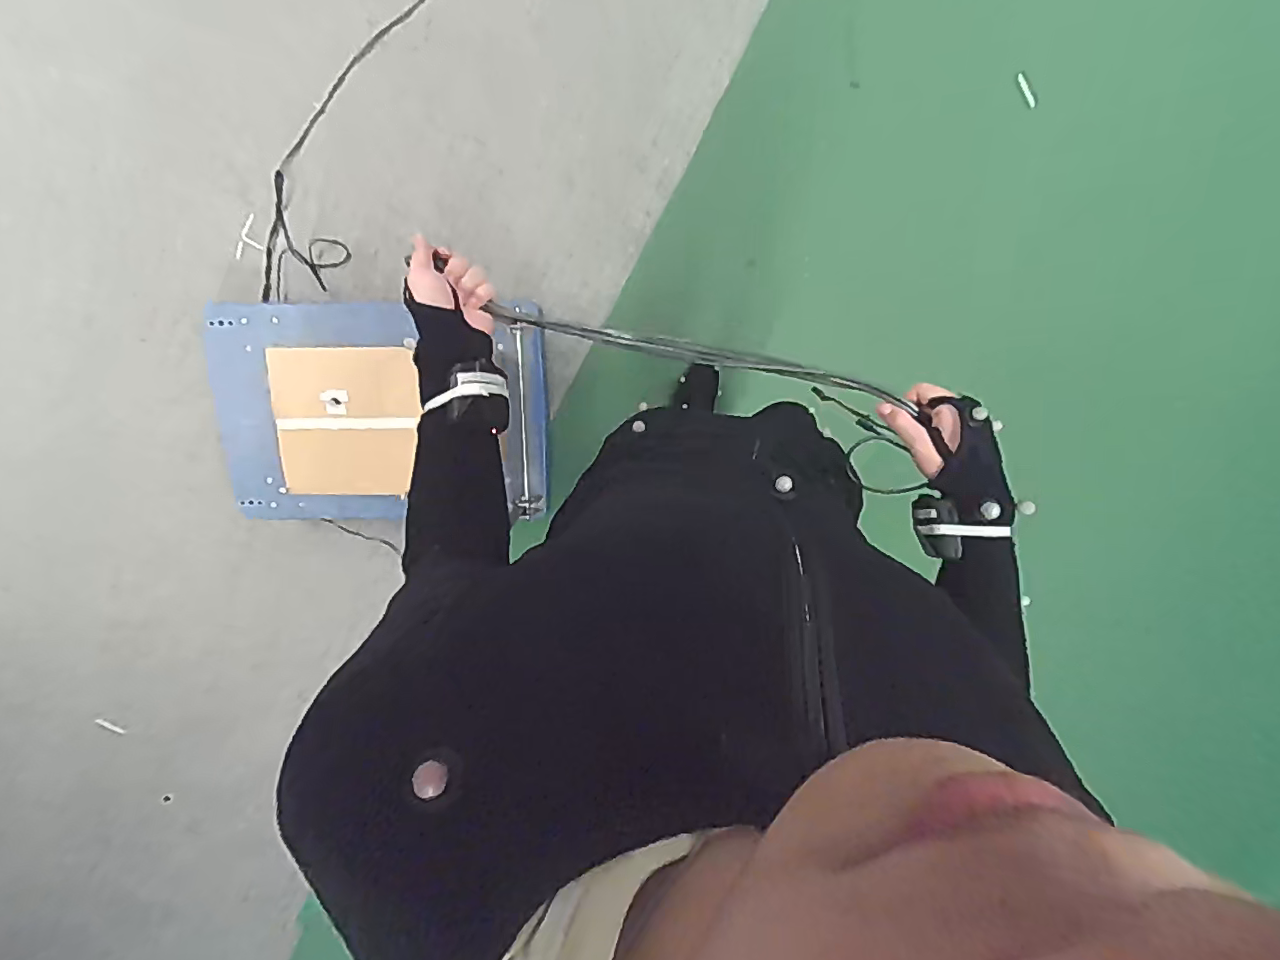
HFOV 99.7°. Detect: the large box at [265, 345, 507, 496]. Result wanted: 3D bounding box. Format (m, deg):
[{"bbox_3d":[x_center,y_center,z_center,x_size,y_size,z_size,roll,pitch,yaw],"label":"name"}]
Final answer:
[{"bbox_3d":[-0.558,-0.150,1.267,0.408,0.320,0.320,0,102,2],"label":"large box"}]
